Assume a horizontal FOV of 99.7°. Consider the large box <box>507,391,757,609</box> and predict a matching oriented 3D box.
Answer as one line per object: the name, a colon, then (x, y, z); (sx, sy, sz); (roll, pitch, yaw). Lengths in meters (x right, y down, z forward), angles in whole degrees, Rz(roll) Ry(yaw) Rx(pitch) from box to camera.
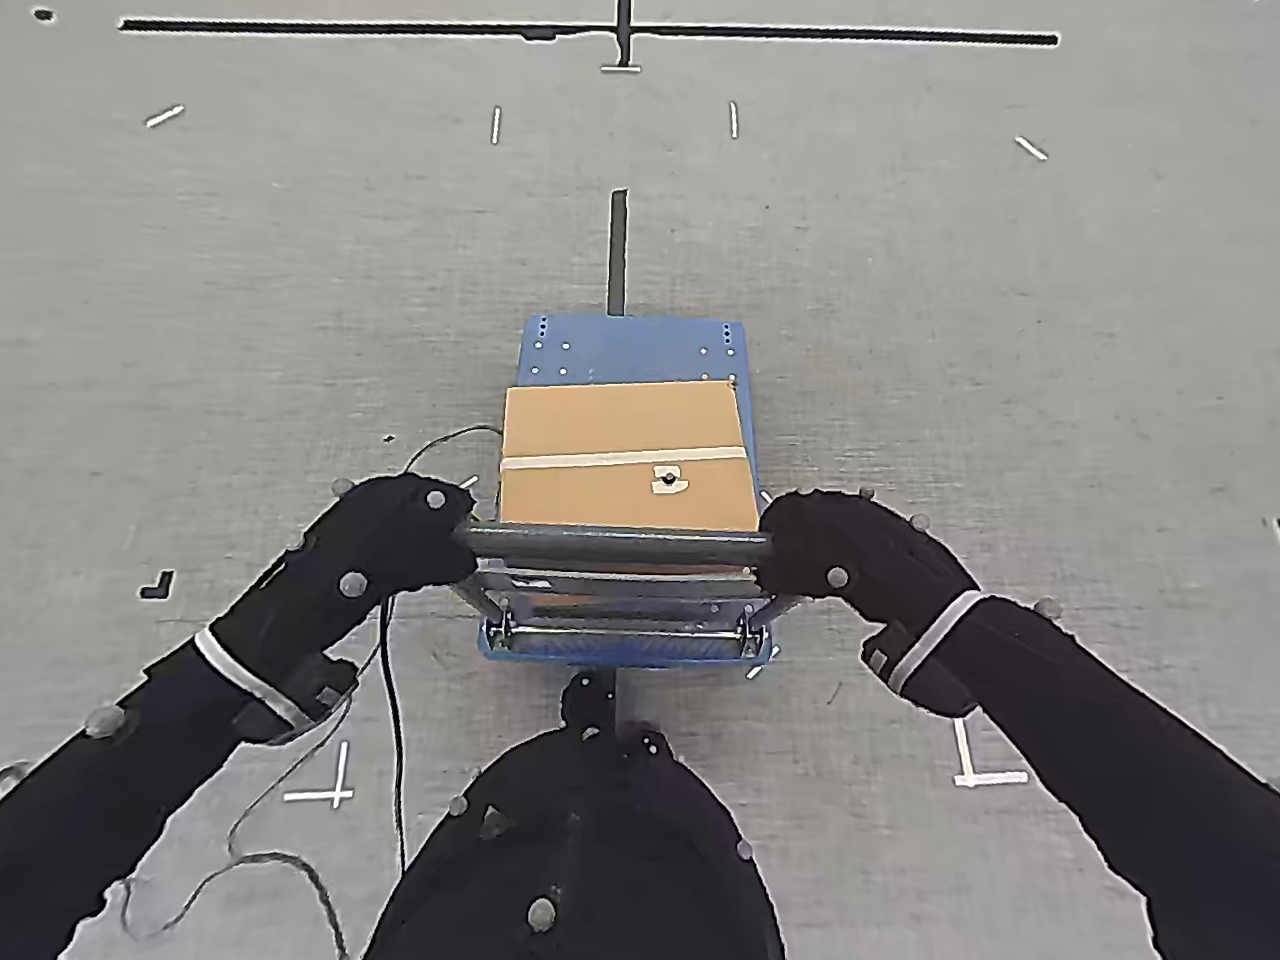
large box: (-0.029, 0.050, 1.046); (0.408, 0.320, 0.320); (-2, 63, -5)
